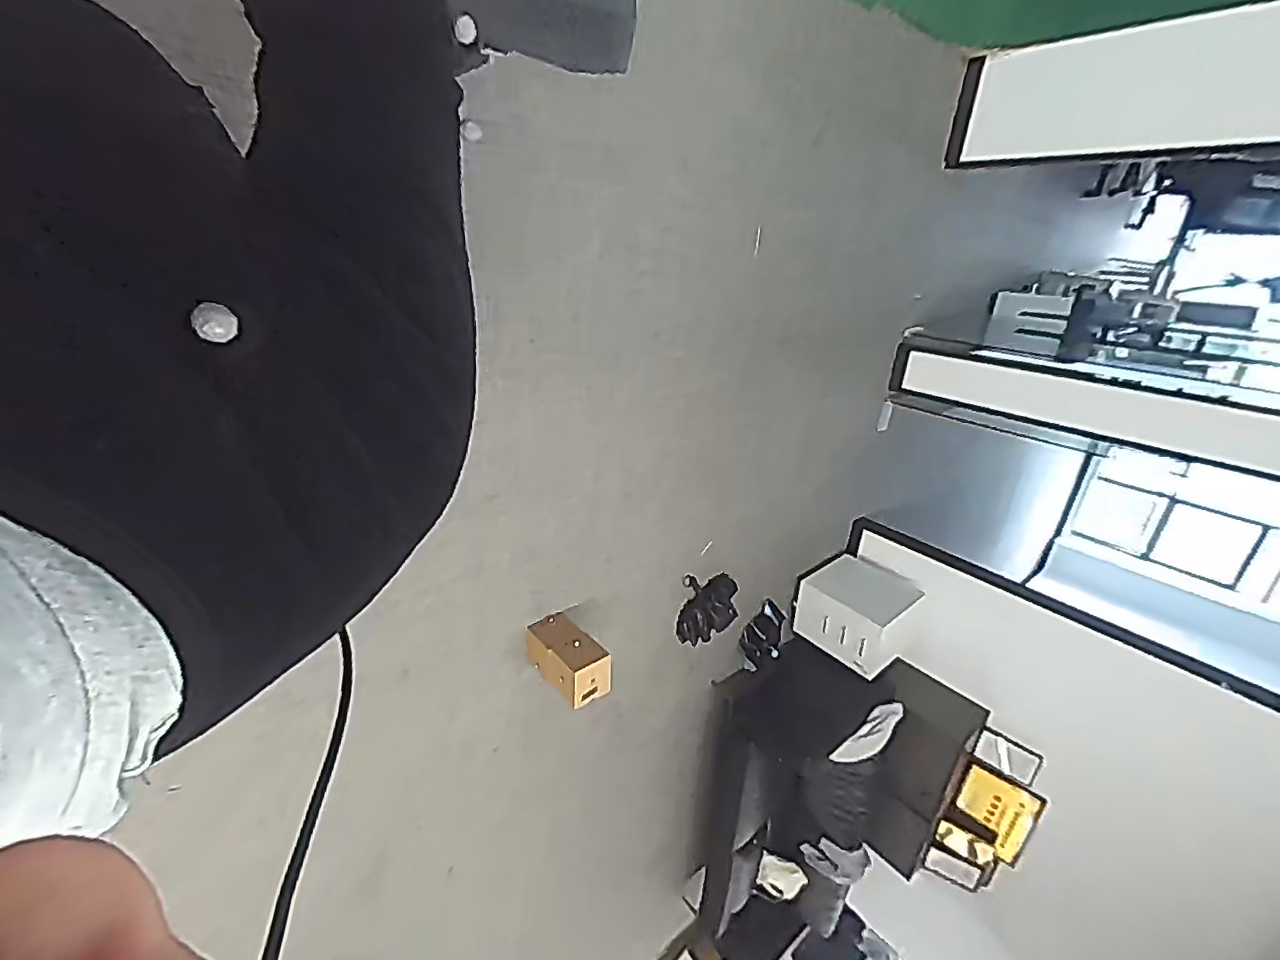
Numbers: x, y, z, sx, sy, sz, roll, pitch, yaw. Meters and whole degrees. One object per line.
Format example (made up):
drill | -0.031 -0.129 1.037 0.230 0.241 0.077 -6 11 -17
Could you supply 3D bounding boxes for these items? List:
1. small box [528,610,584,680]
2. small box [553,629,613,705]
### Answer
small box | -0.332 0.652 2.155 0.168 0.176 0.179 -19 121 -37
small box | -0.219 0.701 2.045 0.168 0.176 0.179 -17 120 -38
